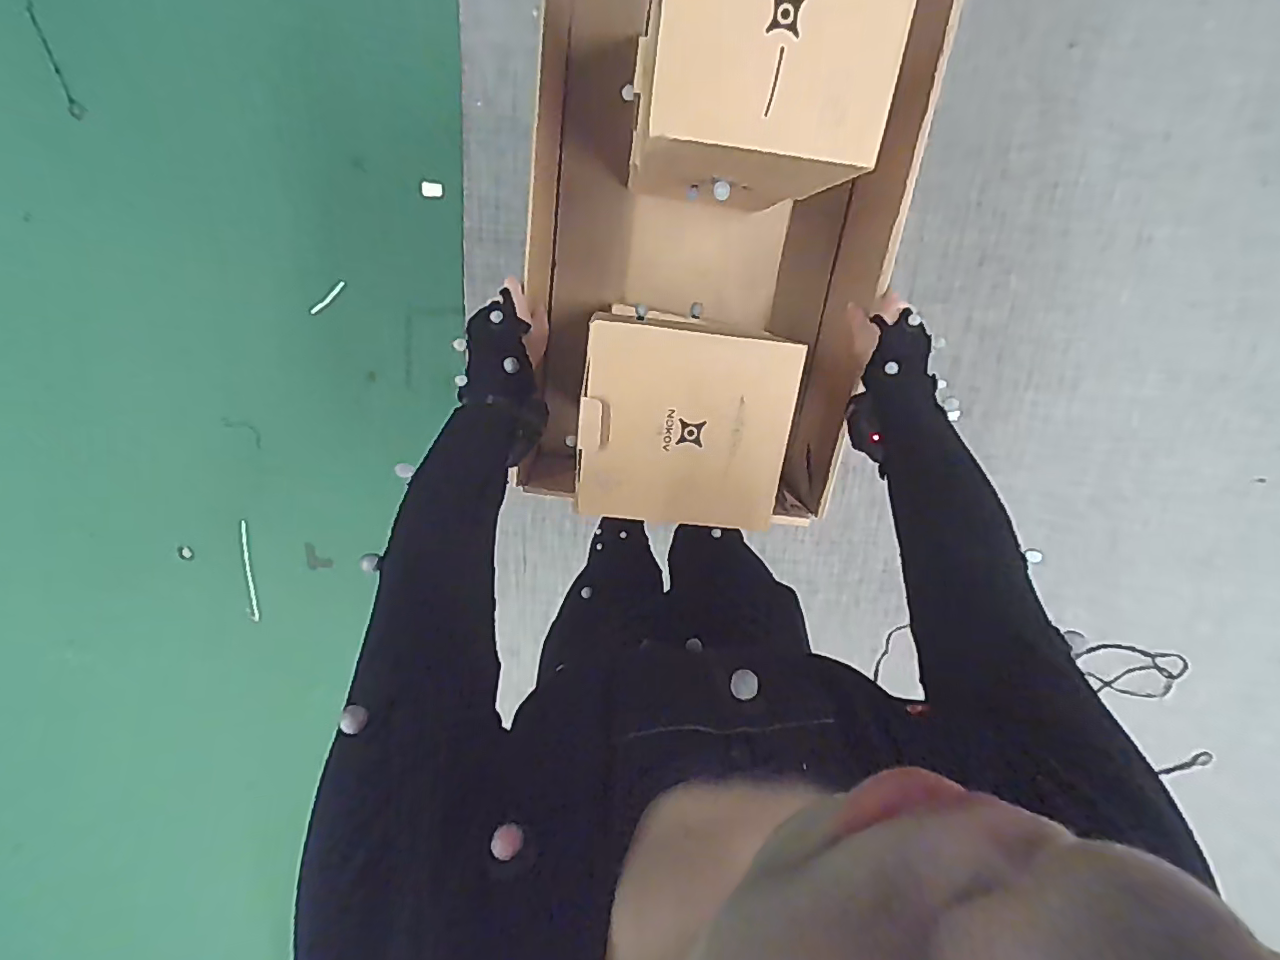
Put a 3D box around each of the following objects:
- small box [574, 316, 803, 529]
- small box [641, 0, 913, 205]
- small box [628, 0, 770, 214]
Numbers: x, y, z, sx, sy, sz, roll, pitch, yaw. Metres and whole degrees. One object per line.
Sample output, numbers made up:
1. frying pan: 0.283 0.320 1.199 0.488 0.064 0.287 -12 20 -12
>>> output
1. small box: 0.033 -0.066 0.530 0.179 0.176 0.168 5 110 -6
2. small box: 0.093 -0.336 0.431 0.168 0.176 0.179 6 111 -5
3. small box: 0.083 -0.396 0.582 0.179 0.176 0.168 7 109 -5
